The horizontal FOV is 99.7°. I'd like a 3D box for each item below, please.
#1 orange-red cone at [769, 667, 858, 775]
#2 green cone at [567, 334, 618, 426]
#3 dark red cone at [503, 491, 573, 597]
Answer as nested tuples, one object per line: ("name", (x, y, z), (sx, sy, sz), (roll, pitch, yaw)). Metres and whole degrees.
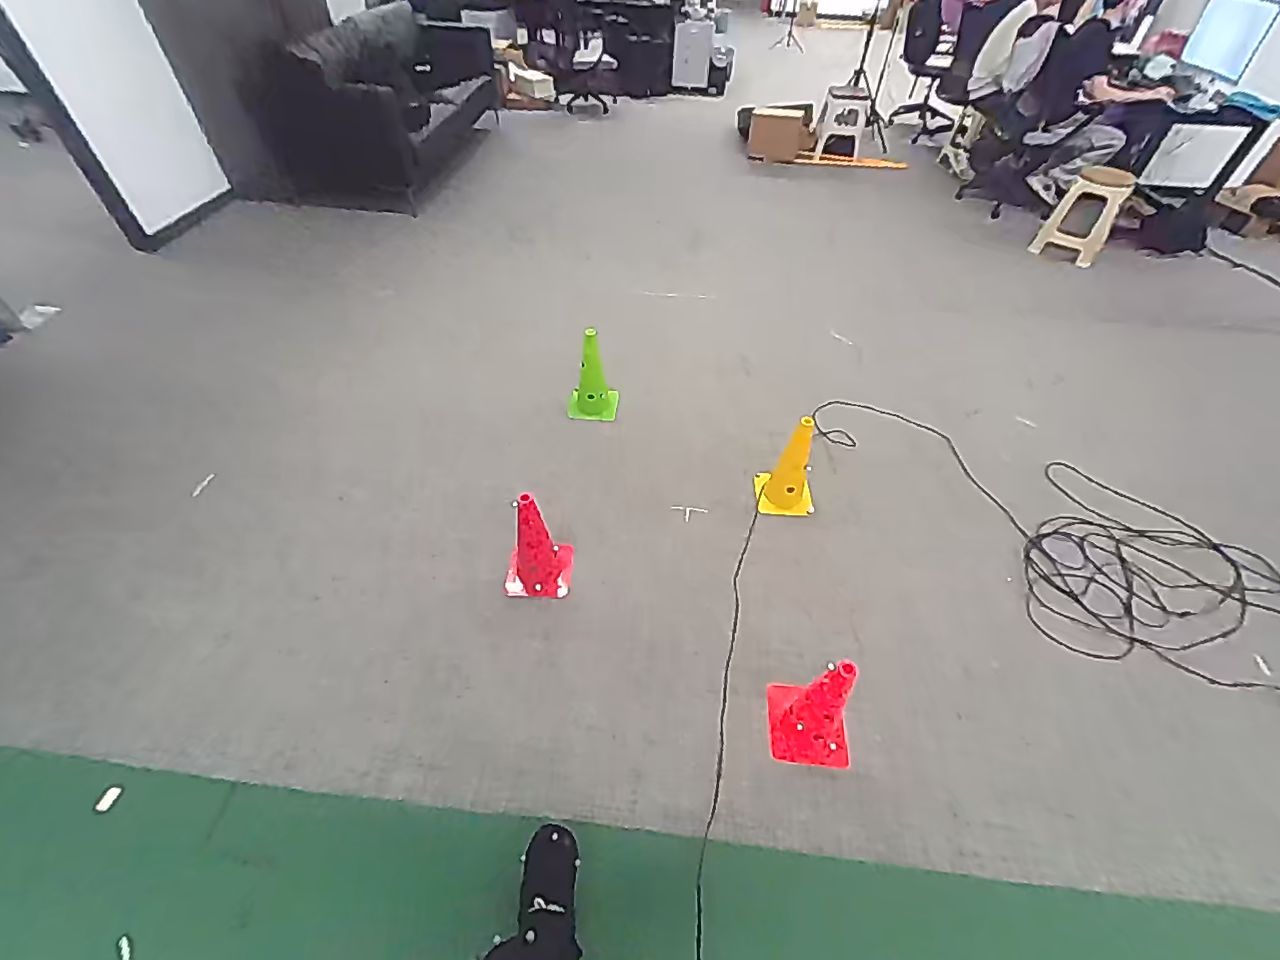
("orange-red cone", (0.447, 0.540, 1.298), (0.198, 0.360, 0.199), (6, 46, 3))
("green cone", (-0.193, -0.420, 2.183), (0.202, 0.368, 0.200), (5, 47, 1))
("dark red cone", (-0.313, 0.172, 1.589), (0.202, 0.394, 0.201), (1, 48, -1))
